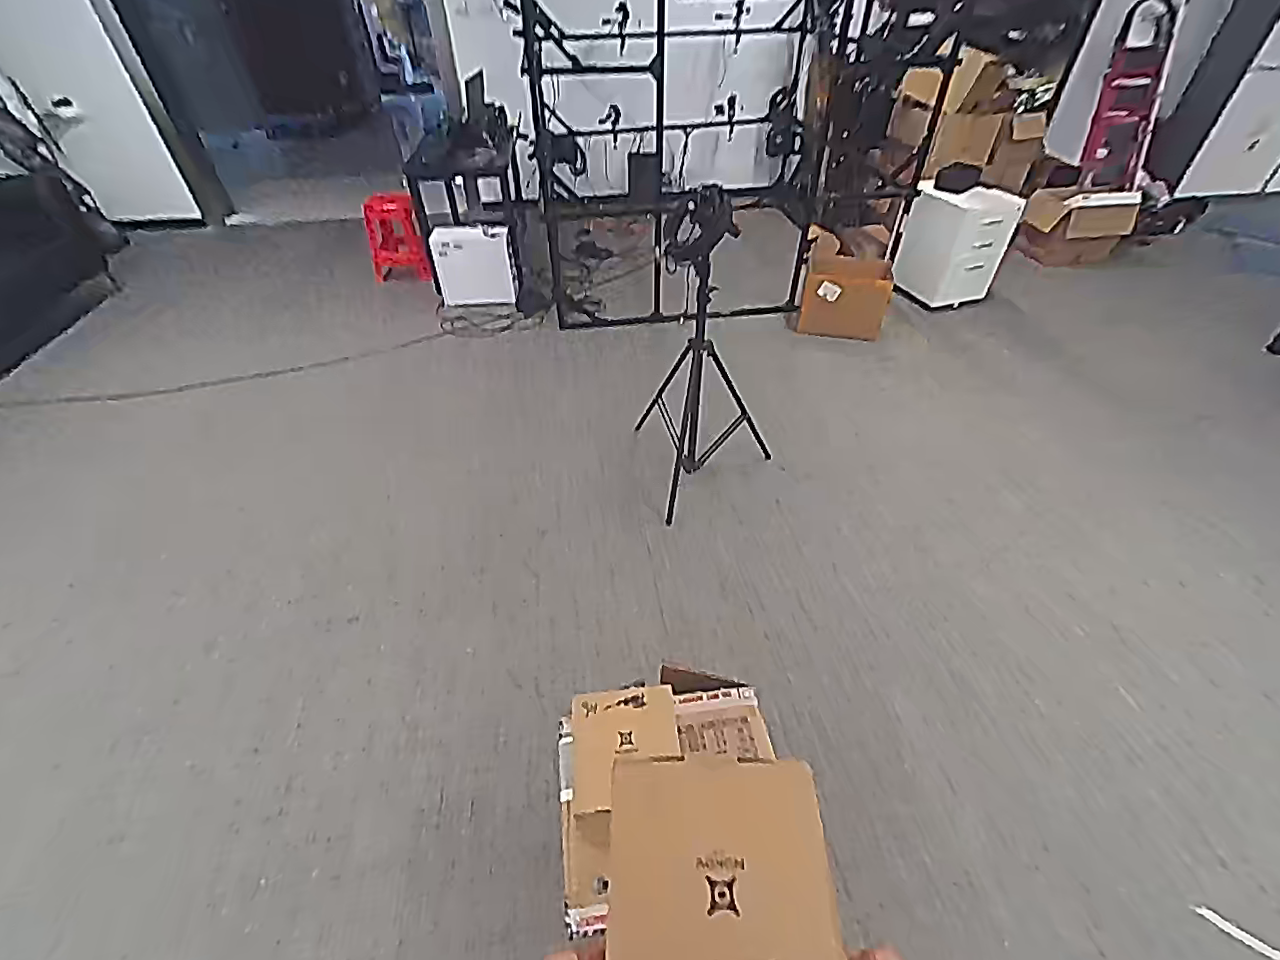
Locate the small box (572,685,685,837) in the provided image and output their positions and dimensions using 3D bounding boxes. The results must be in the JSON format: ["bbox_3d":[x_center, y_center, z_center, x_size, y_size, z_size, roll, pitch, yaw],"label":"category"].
[{"bbox_3d":[-0.018,0.460,0.878,0.168,0.176,0.179,-6,45,-2],"label":"small box"}]
